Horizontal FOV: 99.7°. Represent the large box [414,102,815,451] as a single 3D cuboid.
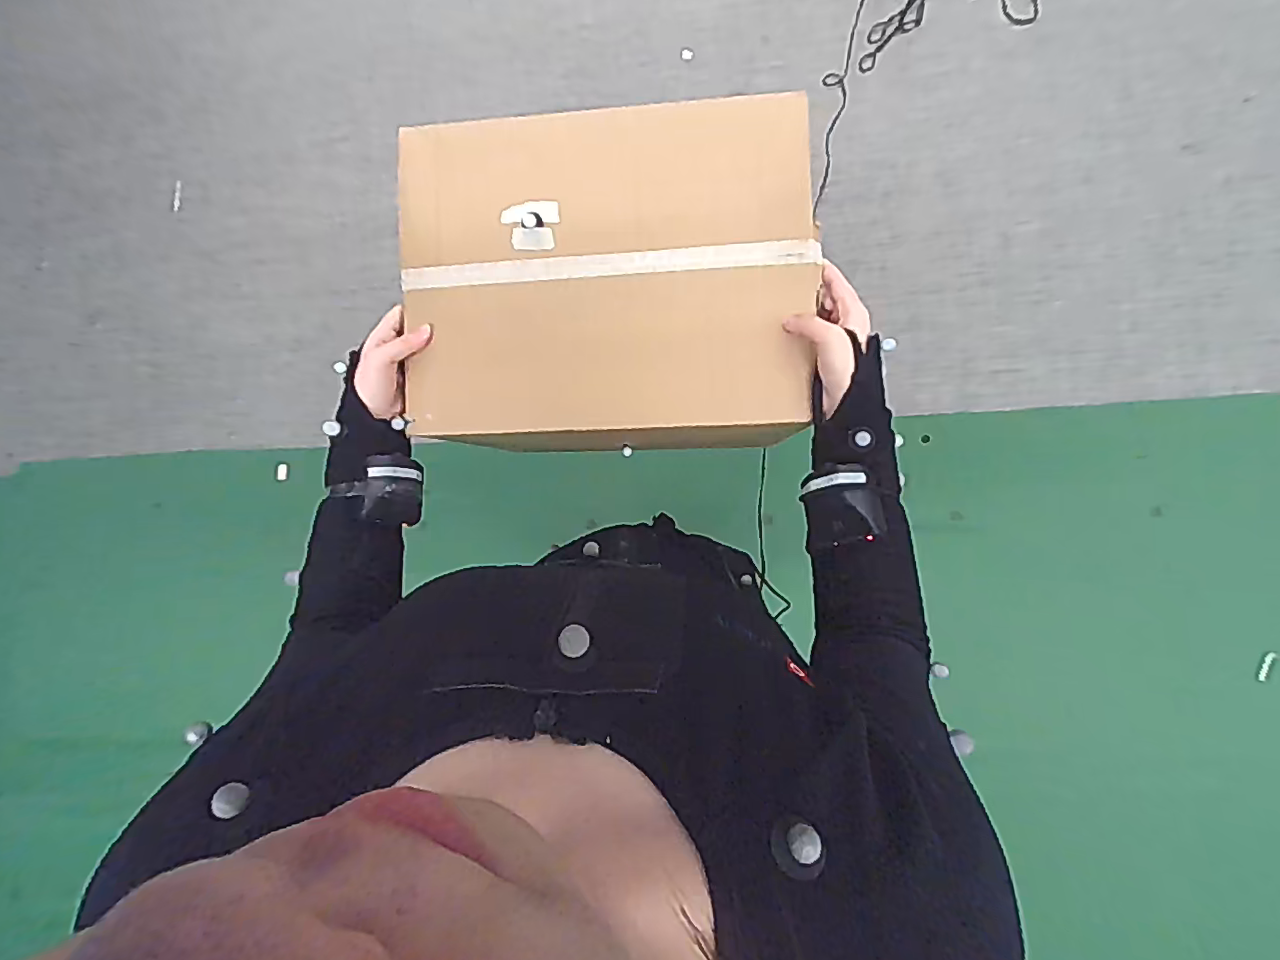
[{"bbox_3d":[-0.015,-0.203,0.687,0.408,0.320,0.320,-2,89,7],"label":"large box"}]
